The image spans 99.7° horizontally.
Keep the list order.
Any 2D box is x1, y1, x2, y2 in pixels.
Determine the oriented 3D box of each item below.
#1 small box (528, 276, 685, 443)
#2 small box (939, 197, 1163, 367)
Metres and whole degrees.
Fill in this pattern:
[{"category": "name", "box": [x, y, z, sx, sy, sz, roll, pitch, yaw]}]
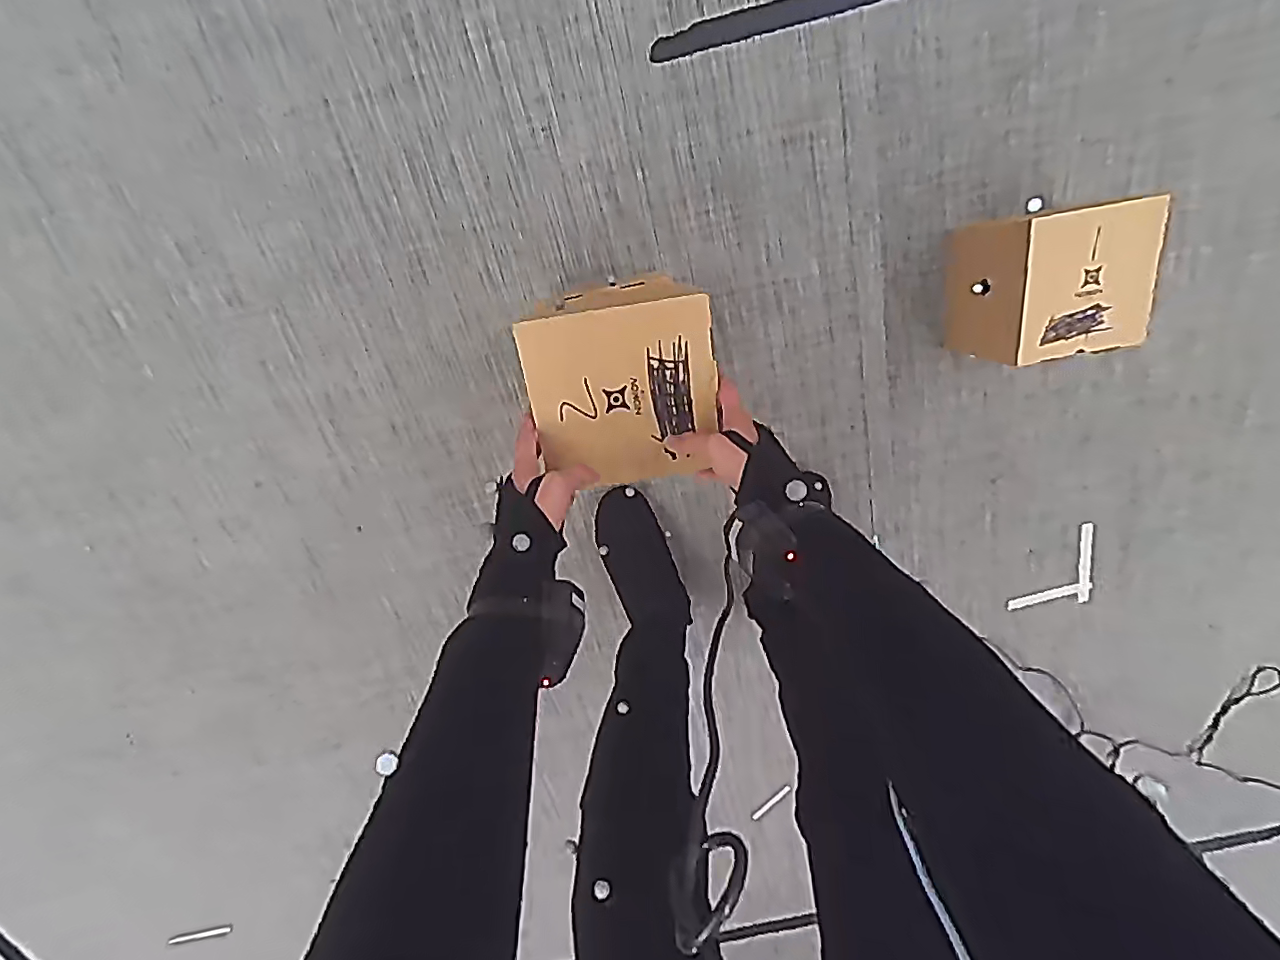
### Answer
[{"category": "small box", "box": [-0.039, -0.169, 0.731, 0.168, 0.176, 0.179, -11, 111, 2]}, {"category": "small box", "box": [0.527, -0.264, 0.725, 0.168, 0.176, 0.179, -10, 111, 0]}]
